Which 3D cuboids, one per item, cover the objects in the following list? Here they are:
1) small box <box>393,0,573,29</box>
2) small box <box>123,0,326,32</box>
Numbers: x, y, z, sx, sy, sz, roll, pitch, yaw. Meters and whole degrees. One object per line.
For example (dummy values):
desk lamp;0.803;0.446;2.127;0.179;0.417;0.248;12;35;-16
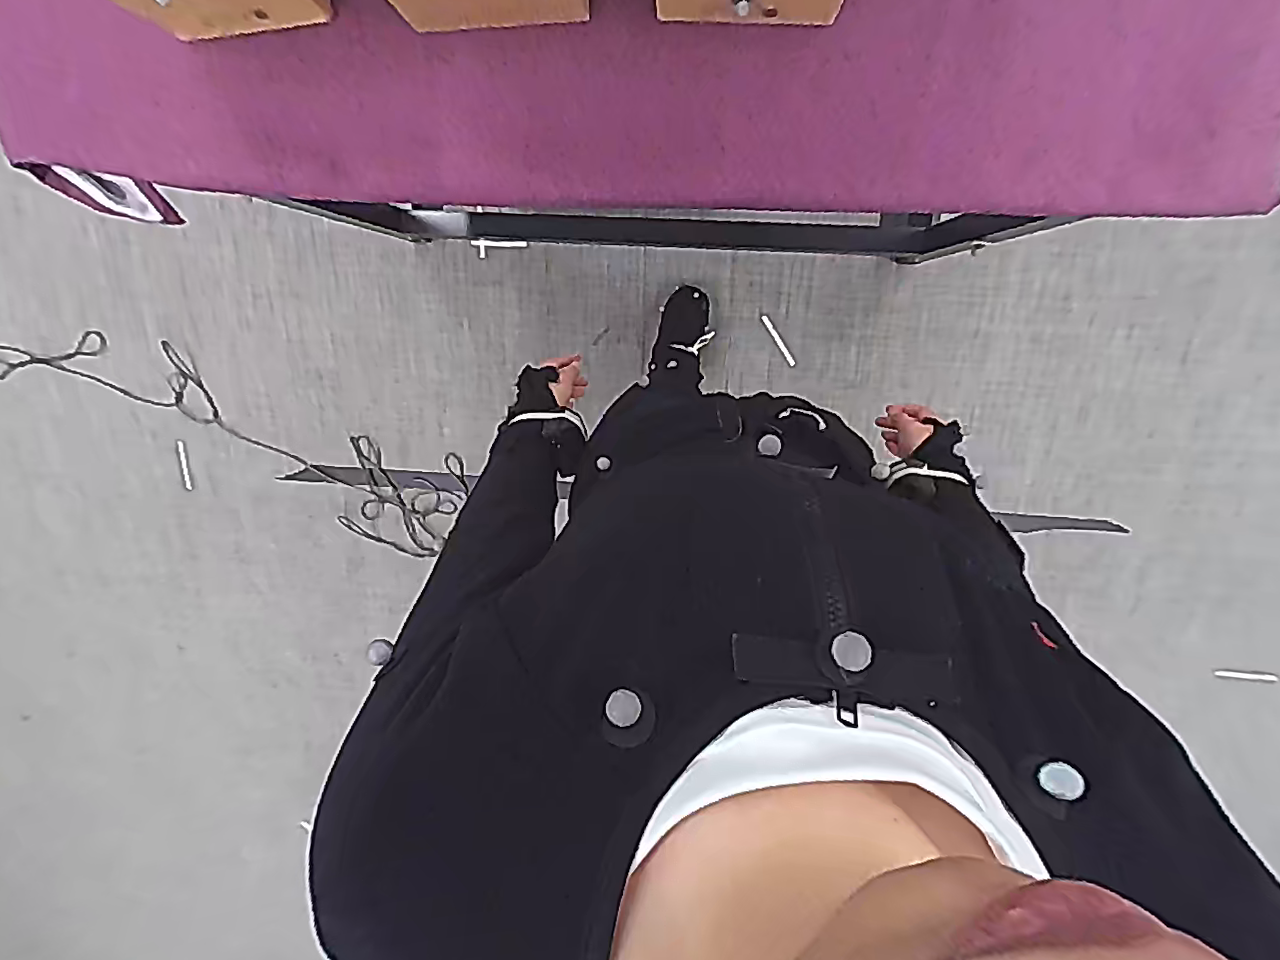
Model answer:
small box;-0.142;-0.500;0.429;0.179;0.176;0.168;-1;105;4
small box;-0.398;-0.512;0.448;0.168;0.176;0.179;-3;105;5
